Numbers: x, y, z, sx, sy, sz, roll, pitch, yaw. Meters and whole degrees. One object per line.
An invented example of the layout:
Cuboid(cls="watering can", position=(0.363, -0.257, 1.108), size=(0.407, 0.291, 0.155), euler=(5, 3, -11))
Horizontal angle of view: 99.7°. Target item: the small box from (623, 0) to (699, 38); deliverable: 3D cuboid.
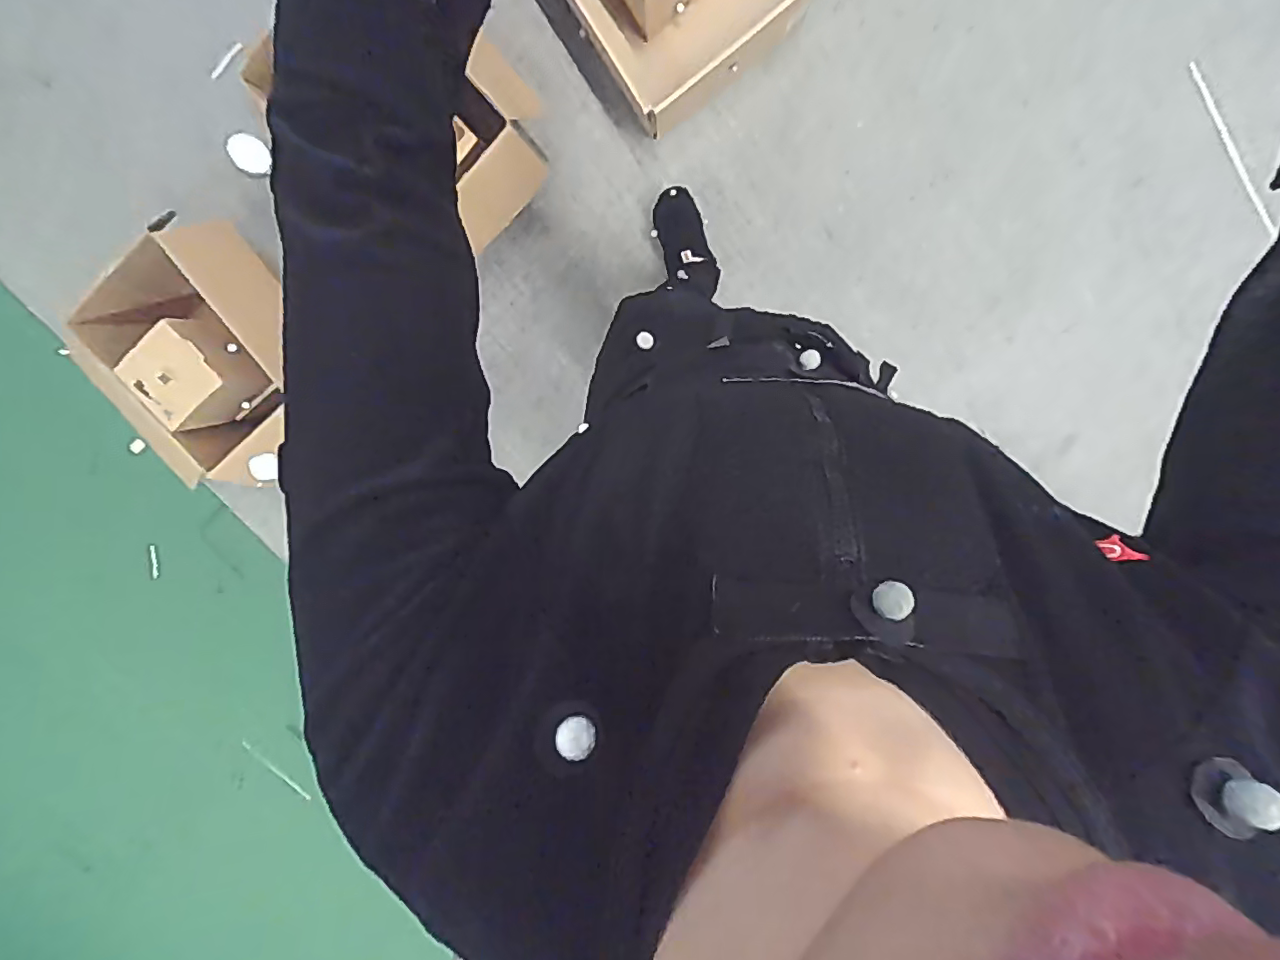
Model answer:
Cuboid(cls="small box", position=(0.028, -1.013, 1.031), size=(0.168, 0.176, 0.179), euler=(-35, 101, 12))
